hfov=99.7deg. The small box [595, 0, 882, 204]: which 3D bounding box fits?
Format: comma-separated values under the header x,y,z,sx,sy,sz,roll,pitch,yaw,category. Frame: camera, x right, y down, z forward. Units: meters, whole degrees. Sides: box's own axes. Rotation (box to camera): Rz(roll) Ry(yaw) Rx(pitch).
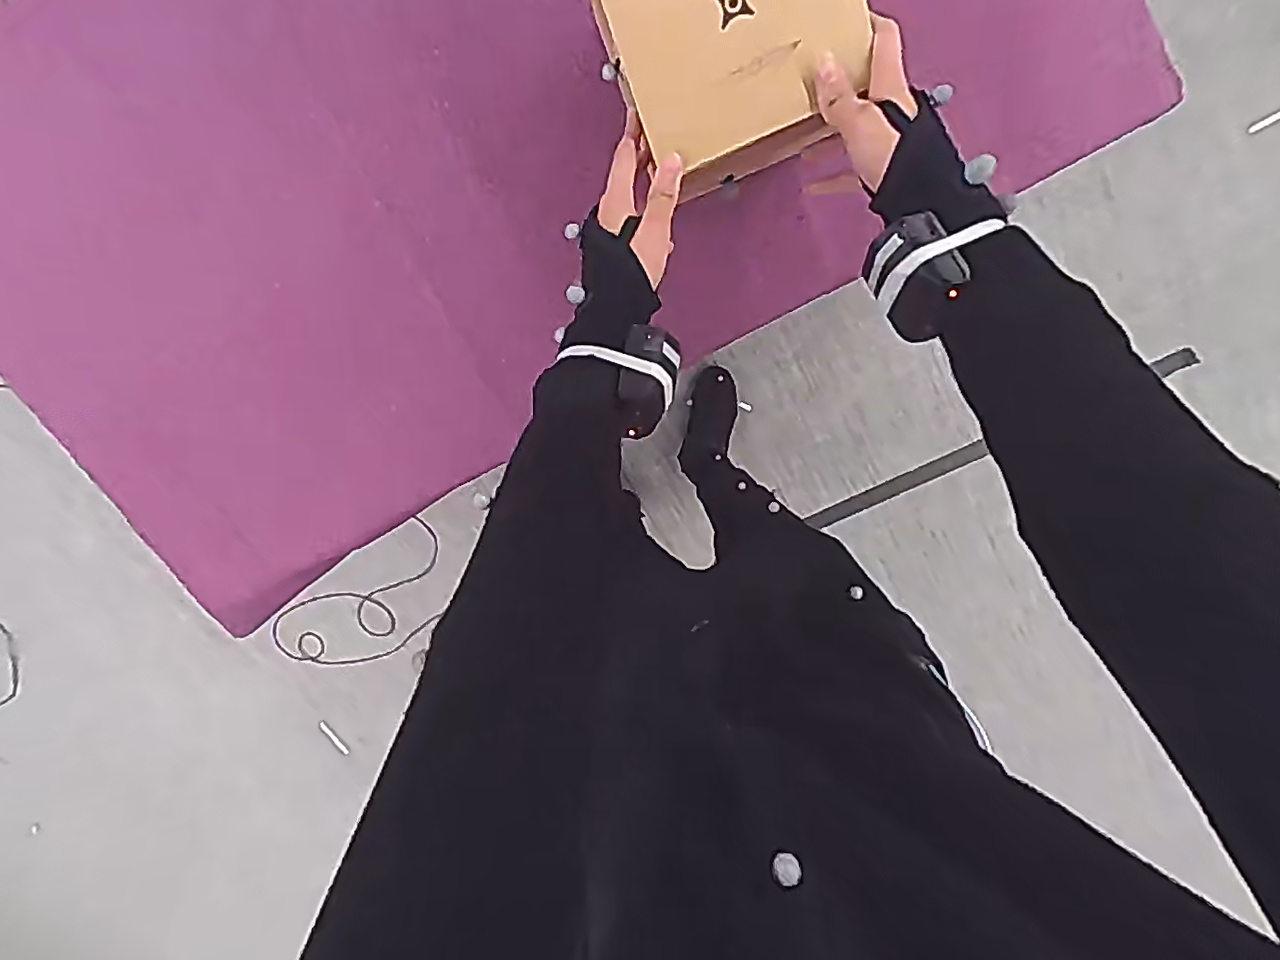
x,y,z,sx,sy,sz,roll,pitch,yaw,category
0.063,-0.348,0.429,0.168,0.176,0.179,-19,108,9,small box
